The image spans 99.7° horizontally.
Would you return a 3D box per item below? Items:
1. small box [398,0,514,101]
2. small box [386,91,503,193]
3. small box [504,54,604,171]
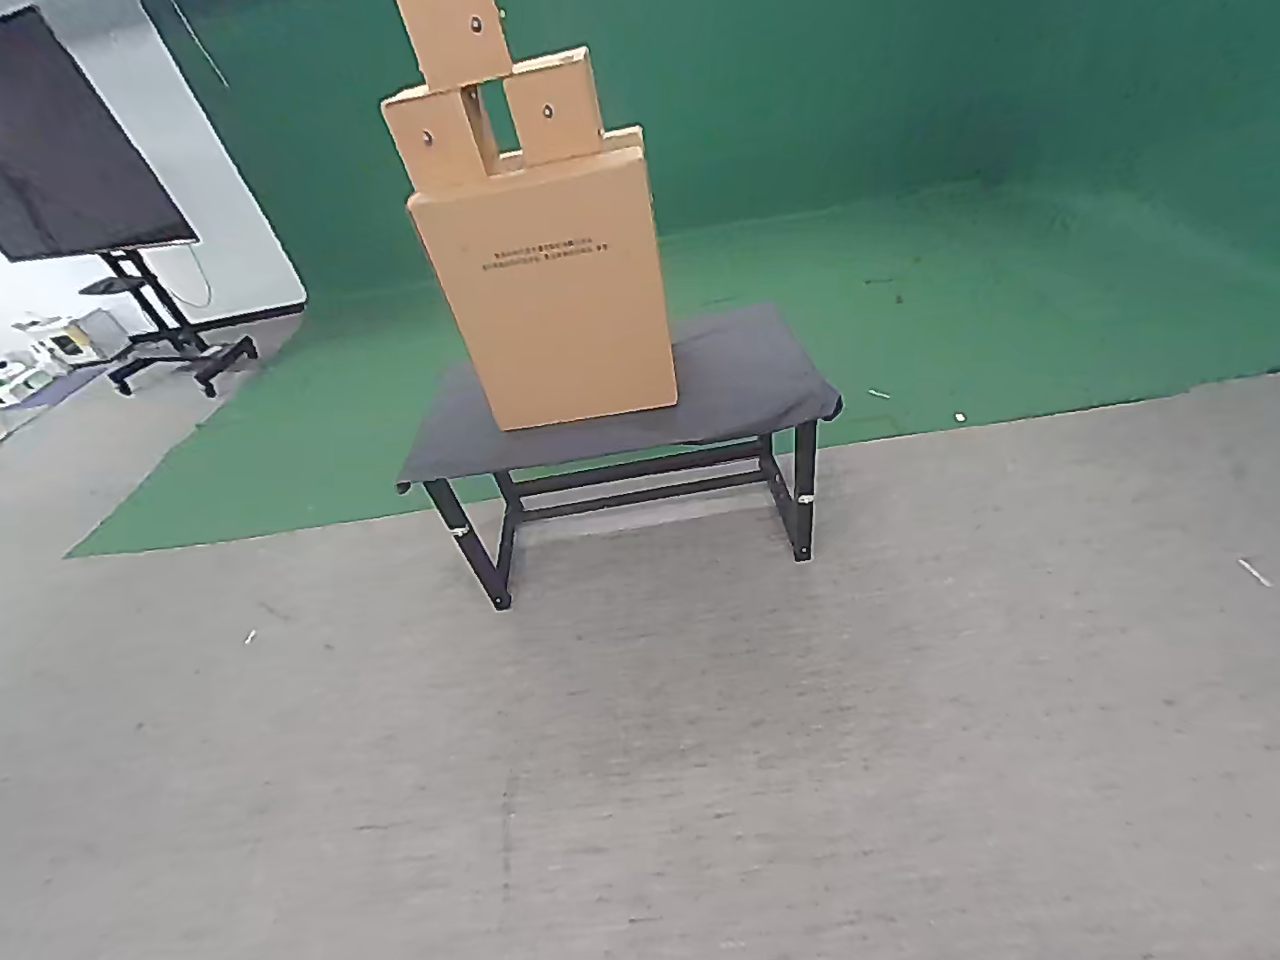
[{"bbox_3d":[-0.365,-0.907,1.113,0.179,0.176,0.168,-15,42,0],"label":"small box"},{"bbox_3d":[-0.434,-0.773,1.231,0.179,0.176,0.168,-7,45,7],"label":"small box"},{"bbox_3d":[-0.182,-0.826,1.219,0.179,0.176,0.168,-8,45,8],"label":"small box"}]
